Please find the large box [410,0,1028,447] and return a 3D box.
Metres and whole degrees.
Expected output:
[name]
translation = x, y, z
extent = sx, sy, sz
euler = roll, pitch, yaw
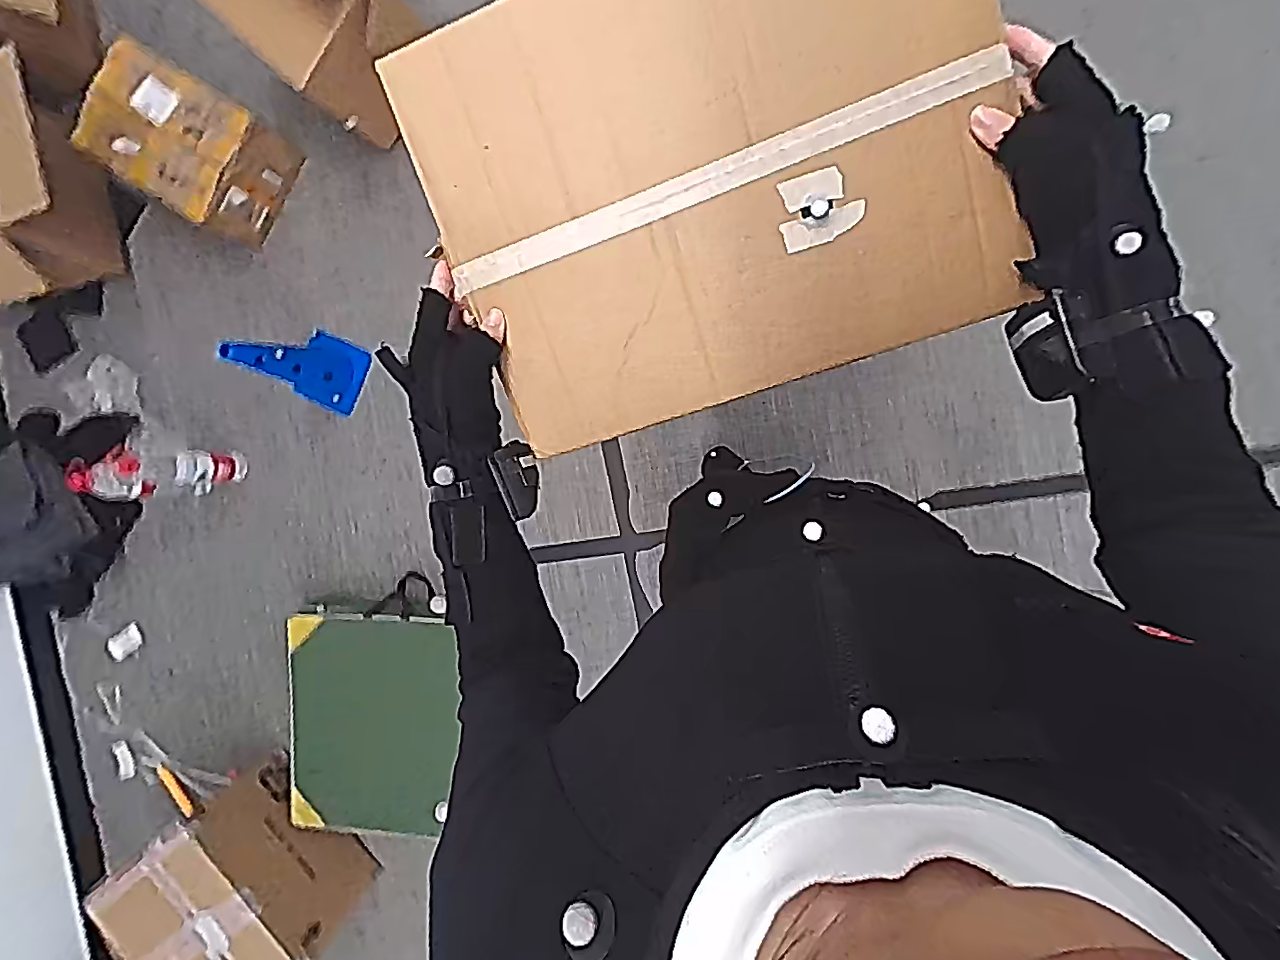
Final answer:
[large box]
translation = 0.071, -0.262, 0.547
extent = 0.408, 0.320, 0.320
euler = -16, 104, 11
